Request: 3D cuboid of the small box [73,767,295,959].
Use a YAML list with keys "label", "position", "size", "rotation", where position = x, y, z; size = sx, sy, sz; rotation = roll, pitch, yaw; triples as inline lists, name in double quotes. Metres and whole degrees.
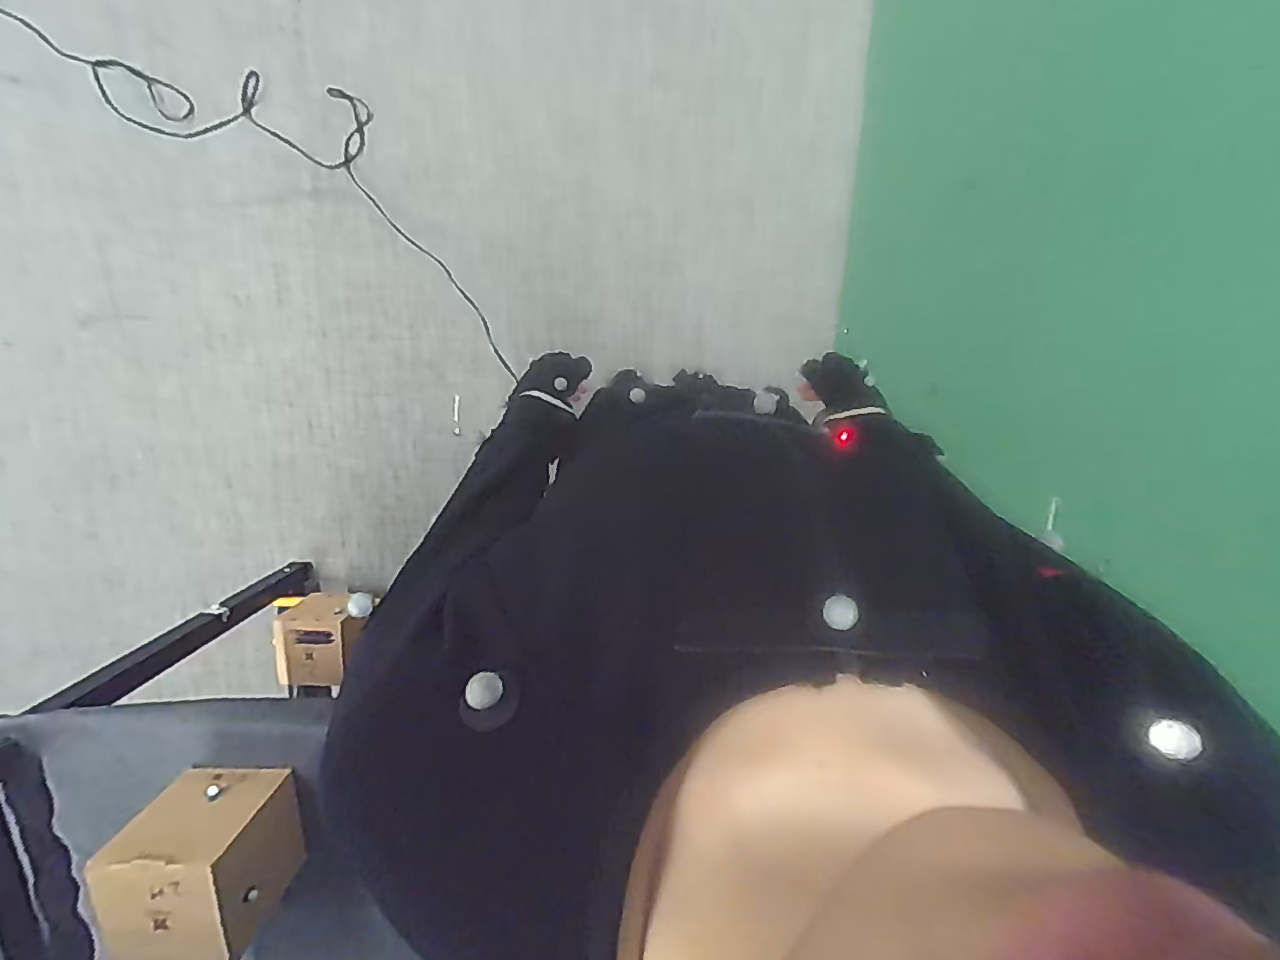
- label: "small box"
  position: [-0.623, 0.544, 0.767]
  size: [0.168, 0.176, 0.179]
  rotation: [1, 103, -1]
